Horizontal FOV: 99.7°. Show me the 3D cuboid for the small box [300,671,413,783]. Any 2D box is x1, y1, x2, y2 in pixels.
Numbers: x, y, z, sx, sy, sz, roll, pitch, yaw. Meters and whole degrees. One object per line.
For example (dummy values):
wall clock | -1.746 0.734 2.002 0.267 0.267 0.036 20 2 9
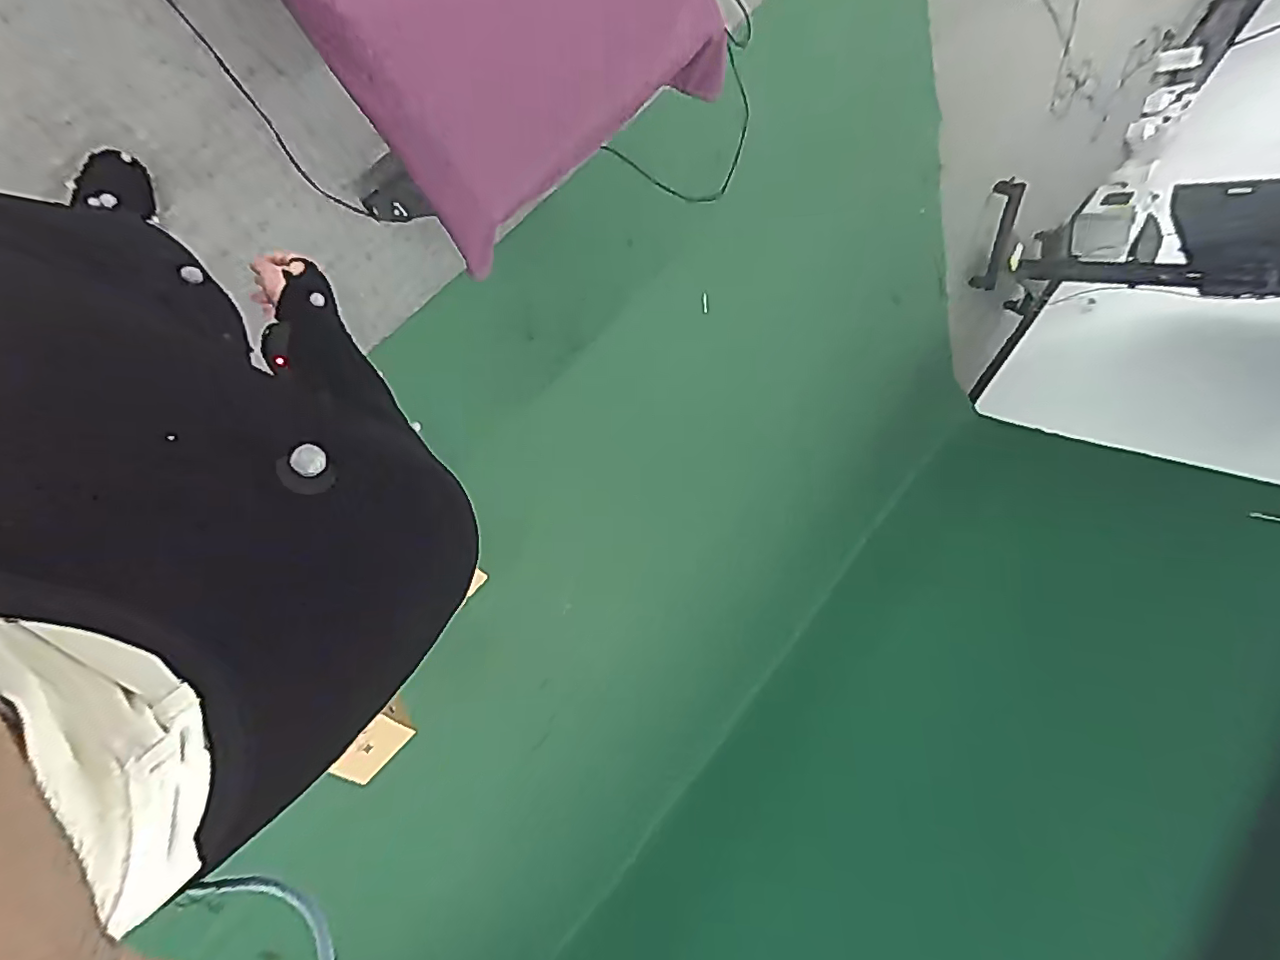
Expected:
small box | -0.716 0.616 1.364 0.168 0.176 0.179 -45 131 -16
